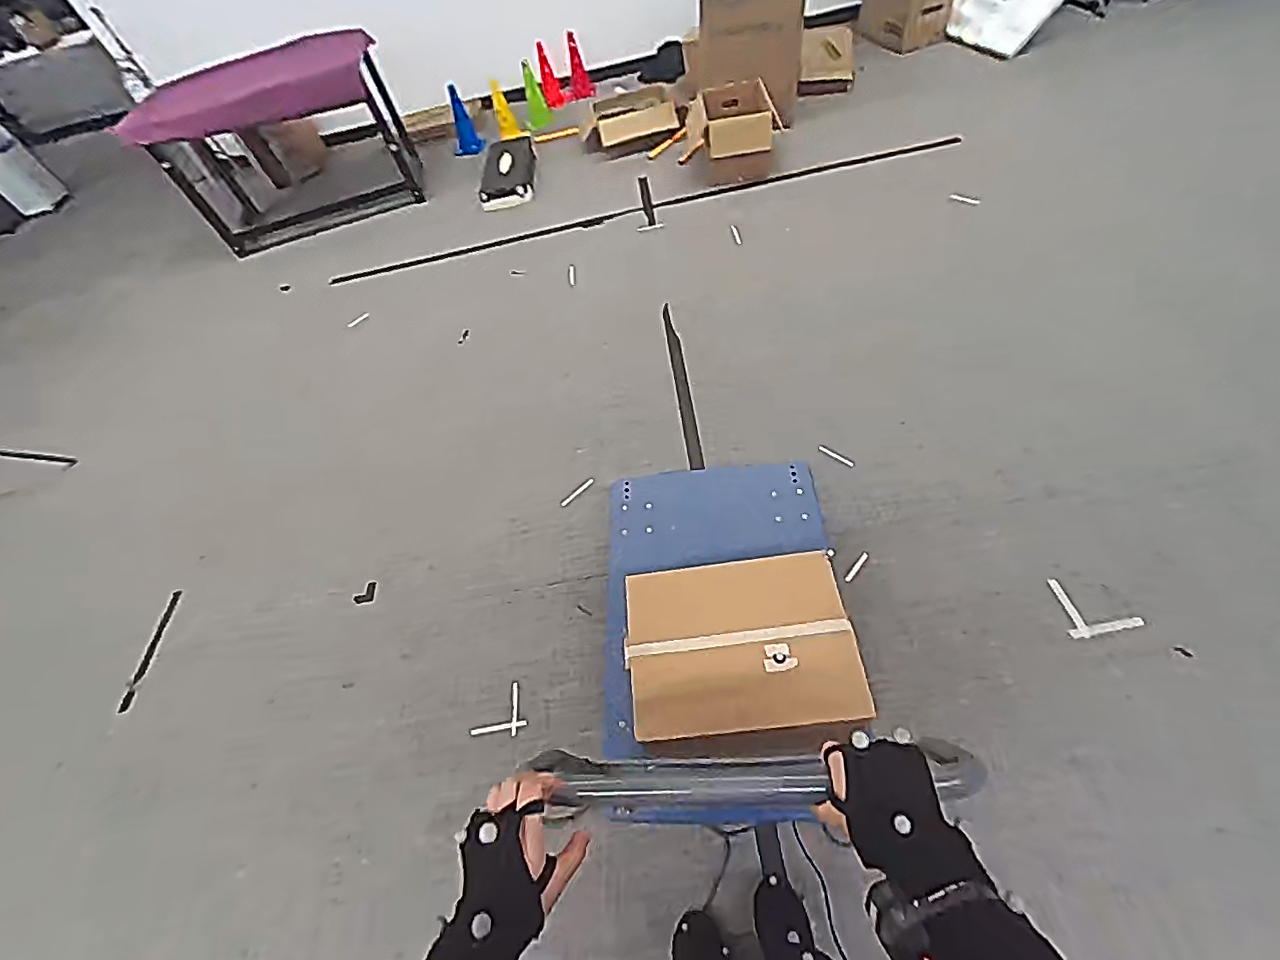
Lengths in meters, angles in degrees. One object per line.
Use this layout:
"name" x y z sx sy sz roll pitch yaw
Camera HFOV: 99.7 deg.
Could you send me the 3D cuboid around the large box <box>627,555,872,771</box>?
"large box" 0.202 0.389 1.121 0.408 0.320 0.320 -8 54 4
